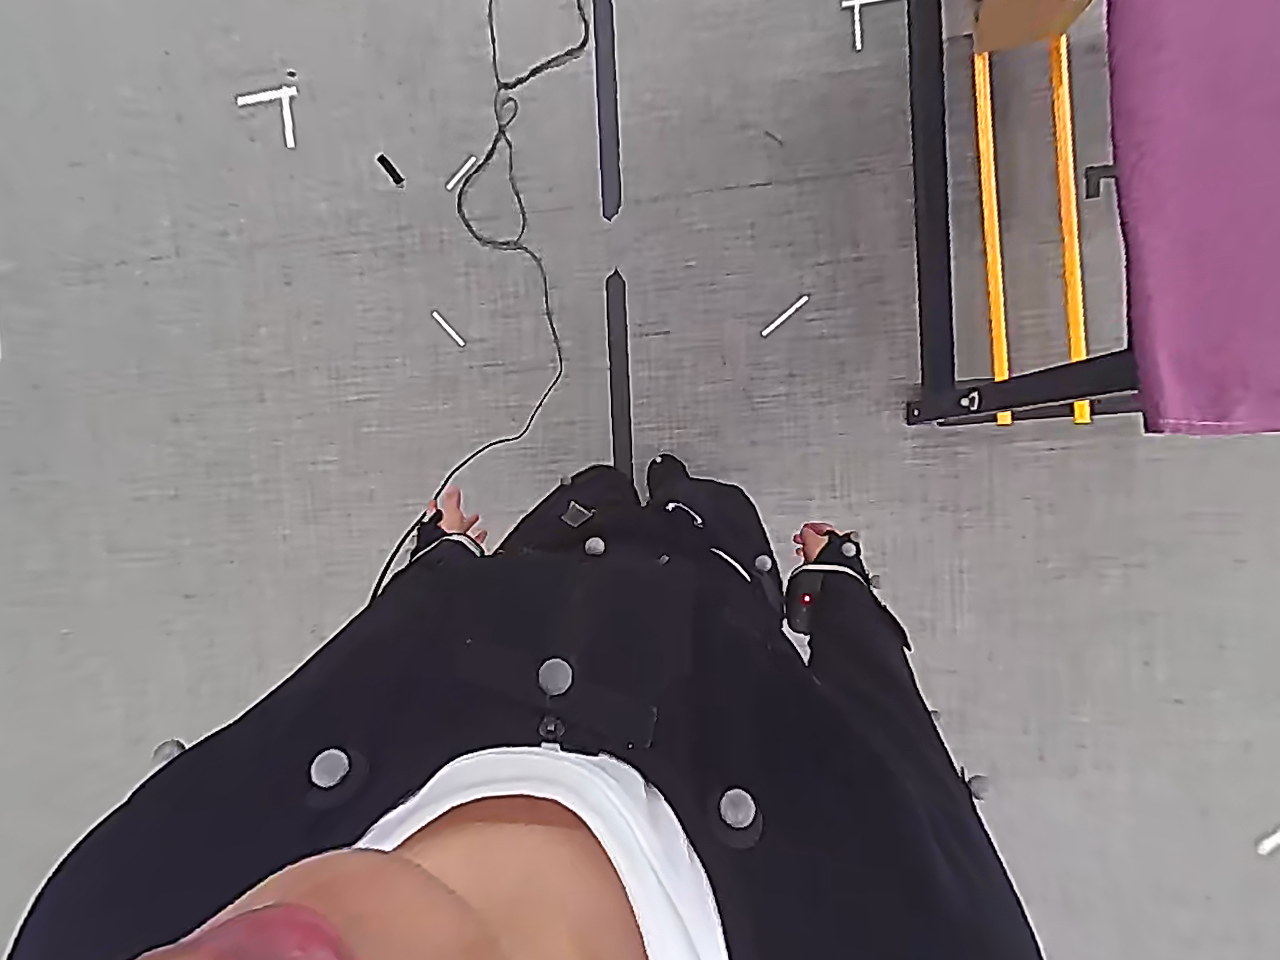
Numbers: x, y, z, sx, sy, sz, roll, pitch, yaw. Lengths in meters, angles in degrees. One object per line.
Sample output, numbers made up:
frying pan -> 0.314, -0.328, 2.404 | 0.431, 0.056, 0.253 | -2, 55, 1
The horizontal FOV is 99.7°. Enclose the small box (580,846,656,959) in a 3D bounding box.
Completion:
small box -> -0.049, 1.054, 1.338 | 0.168, 0.176, 0.179 | -1, 91, 6

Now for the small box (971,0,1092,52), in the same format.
small box -> 0.777, -0.988, 1.051 | 0.179, 0.176, 0.168 | -6, 92, 8
